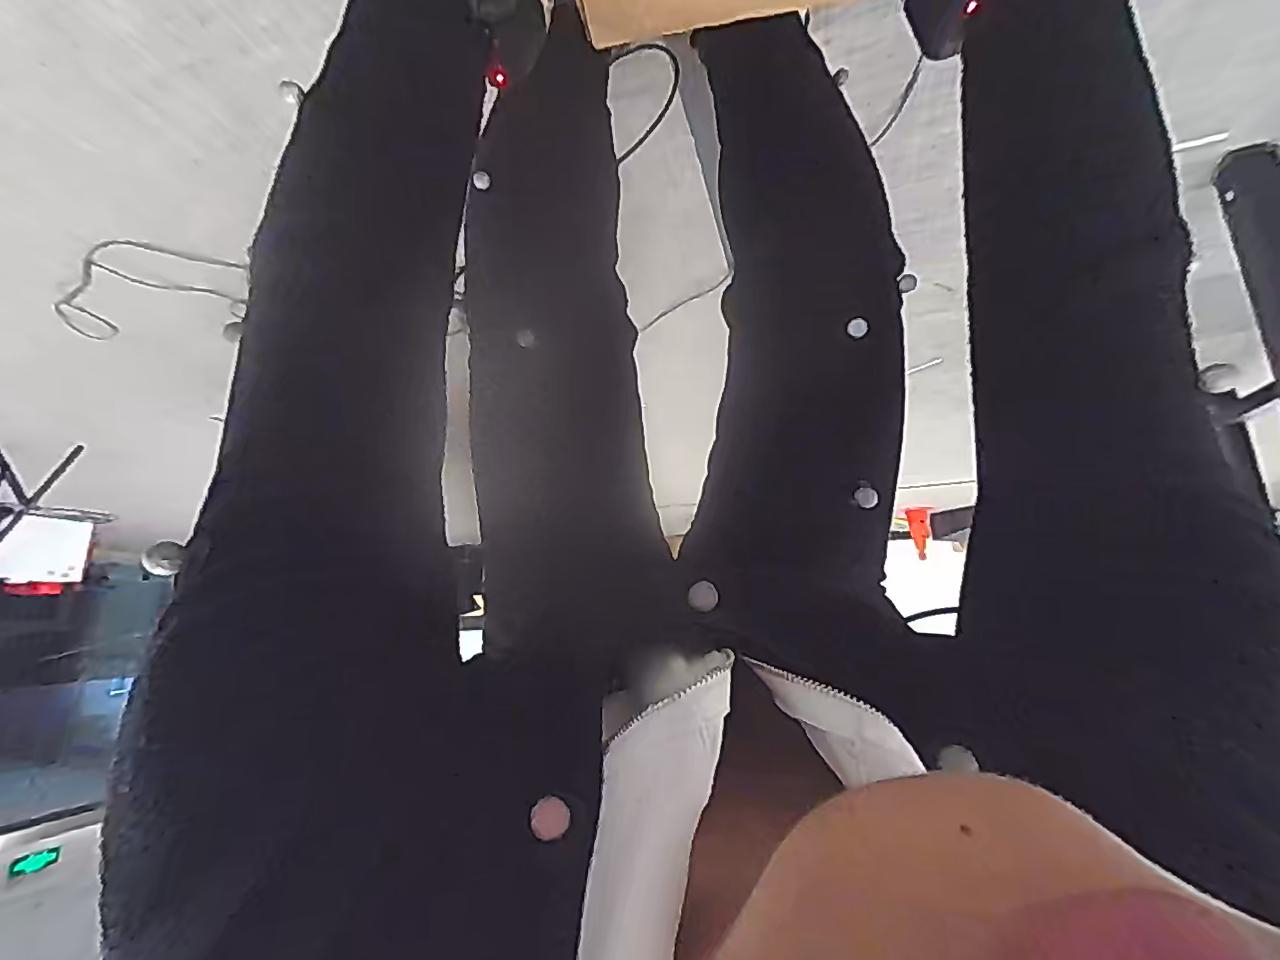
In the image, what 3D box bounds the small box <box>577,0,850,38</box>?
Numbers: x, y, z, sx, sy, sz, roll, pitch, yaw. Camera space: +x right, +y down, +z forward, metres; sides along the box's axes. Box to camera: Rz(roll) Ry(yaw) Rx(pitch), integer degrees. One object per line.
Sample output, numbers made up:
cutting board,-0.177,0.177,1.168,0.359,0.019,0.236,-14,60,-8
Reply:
small box,0.042,-0.365,0.255,0.179,0.176,0.168,-5,162,7
